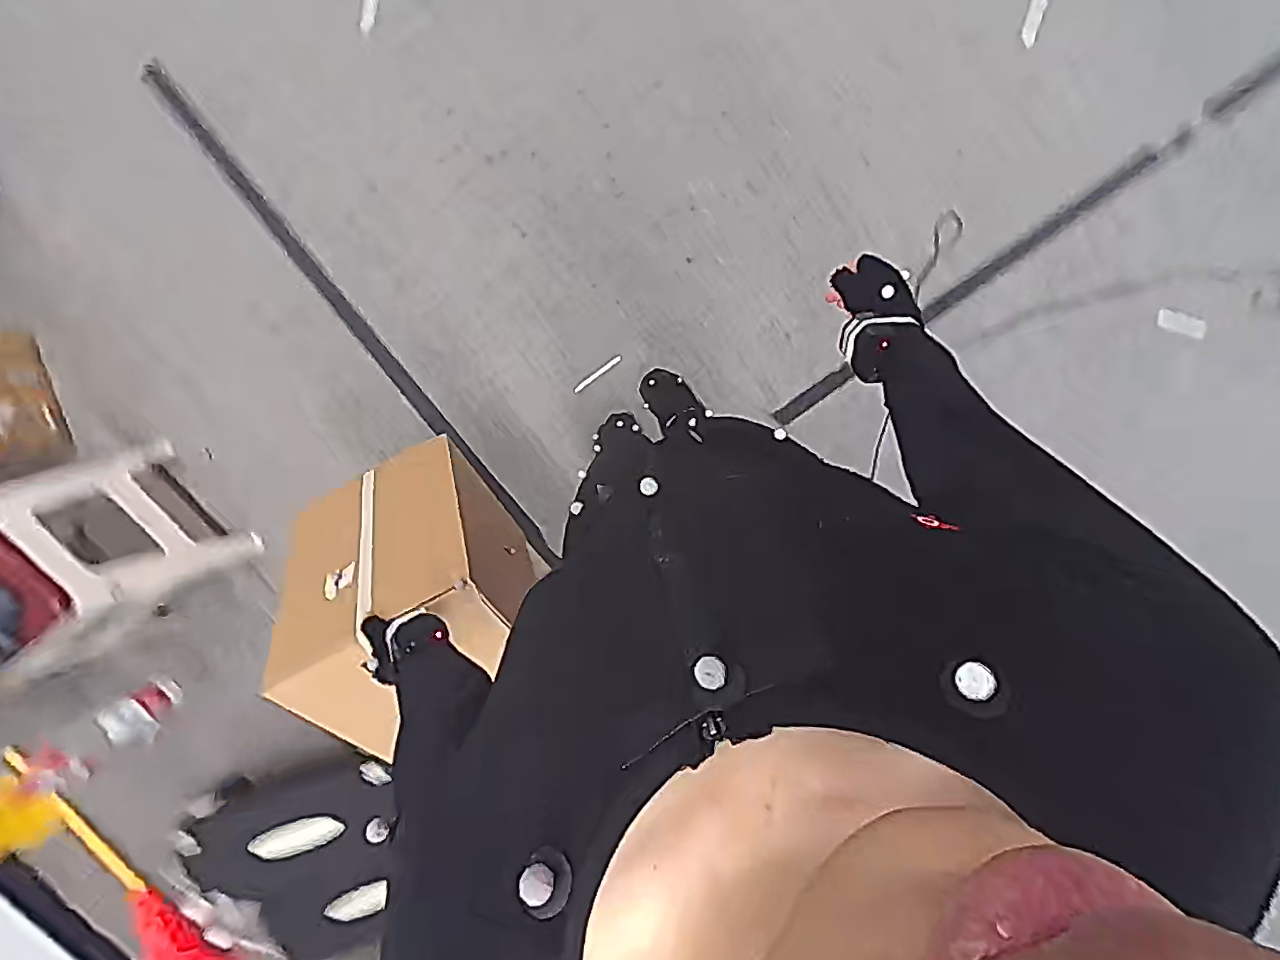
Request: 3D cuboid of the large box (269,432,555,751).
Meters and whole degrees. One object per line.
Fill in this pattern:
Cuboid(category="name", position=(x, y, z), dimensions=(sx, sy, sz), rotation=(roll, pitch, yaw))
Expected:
Cuboid(category="large box", position=(-0.392, 0.188, 0.979), dimensions=(0.320, 0.408, 0.320), rotation=(-28, 133, -2))
